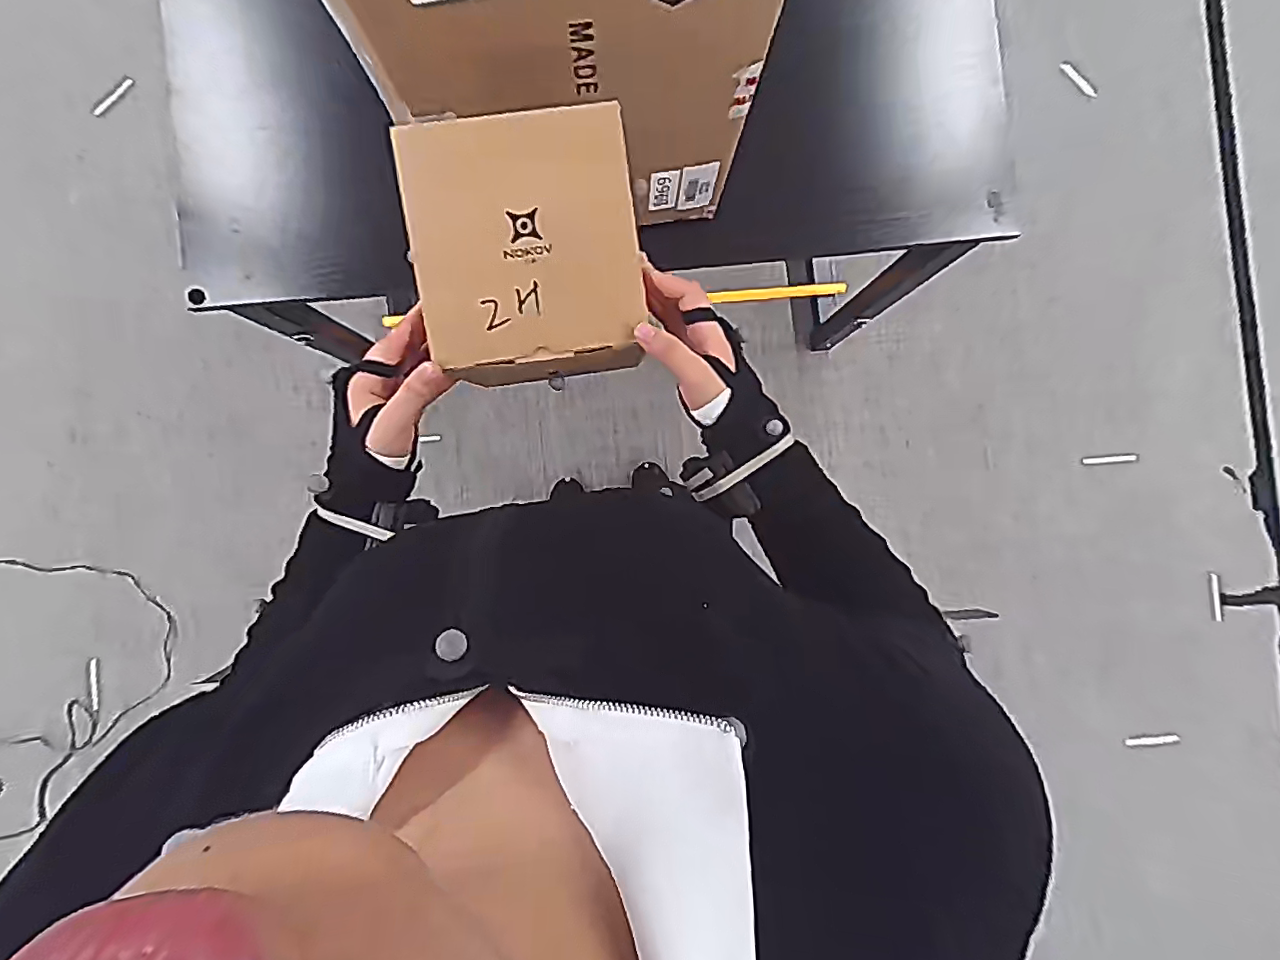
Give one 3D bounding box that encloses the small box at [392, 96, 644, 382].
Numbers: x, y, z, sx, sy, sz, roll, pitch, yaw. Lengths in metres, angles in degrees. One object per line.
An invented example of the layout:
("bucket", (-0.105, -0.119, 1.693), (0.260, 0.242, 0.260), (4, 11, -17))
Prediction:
("small box", (-0.092, -0.191, 0.477), (0.168, 0.176, 0.179), (-8, 96, -2))
